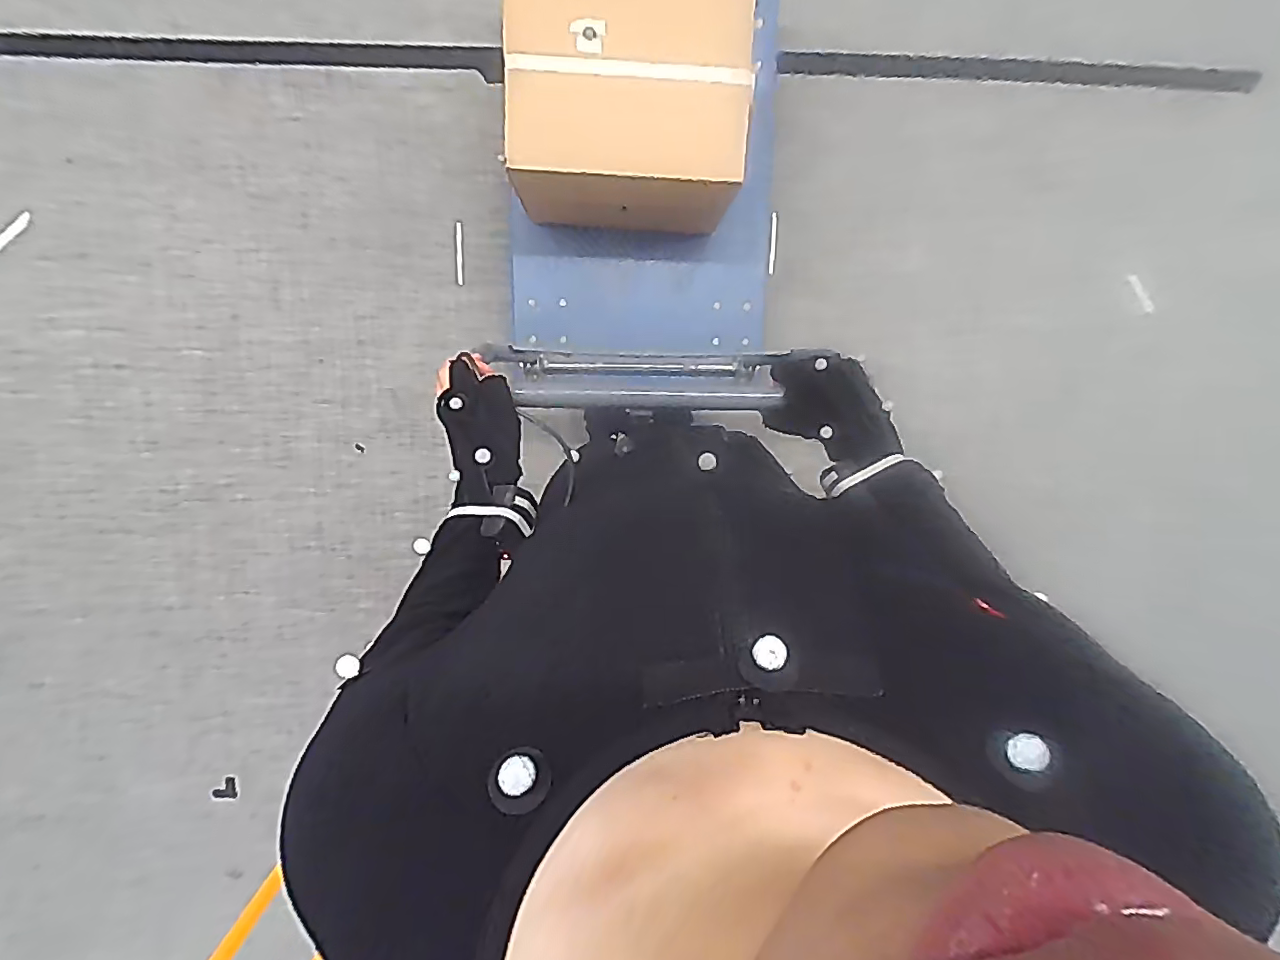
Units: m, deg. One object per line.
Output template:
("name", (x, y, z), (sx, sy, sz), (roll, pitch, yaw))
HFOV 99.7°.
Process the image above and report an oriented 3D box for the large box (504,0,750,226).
("large box", (-0.025, -0.692, 1.035), (0.408, 0.320, 0.320), (2, 100, -2))
